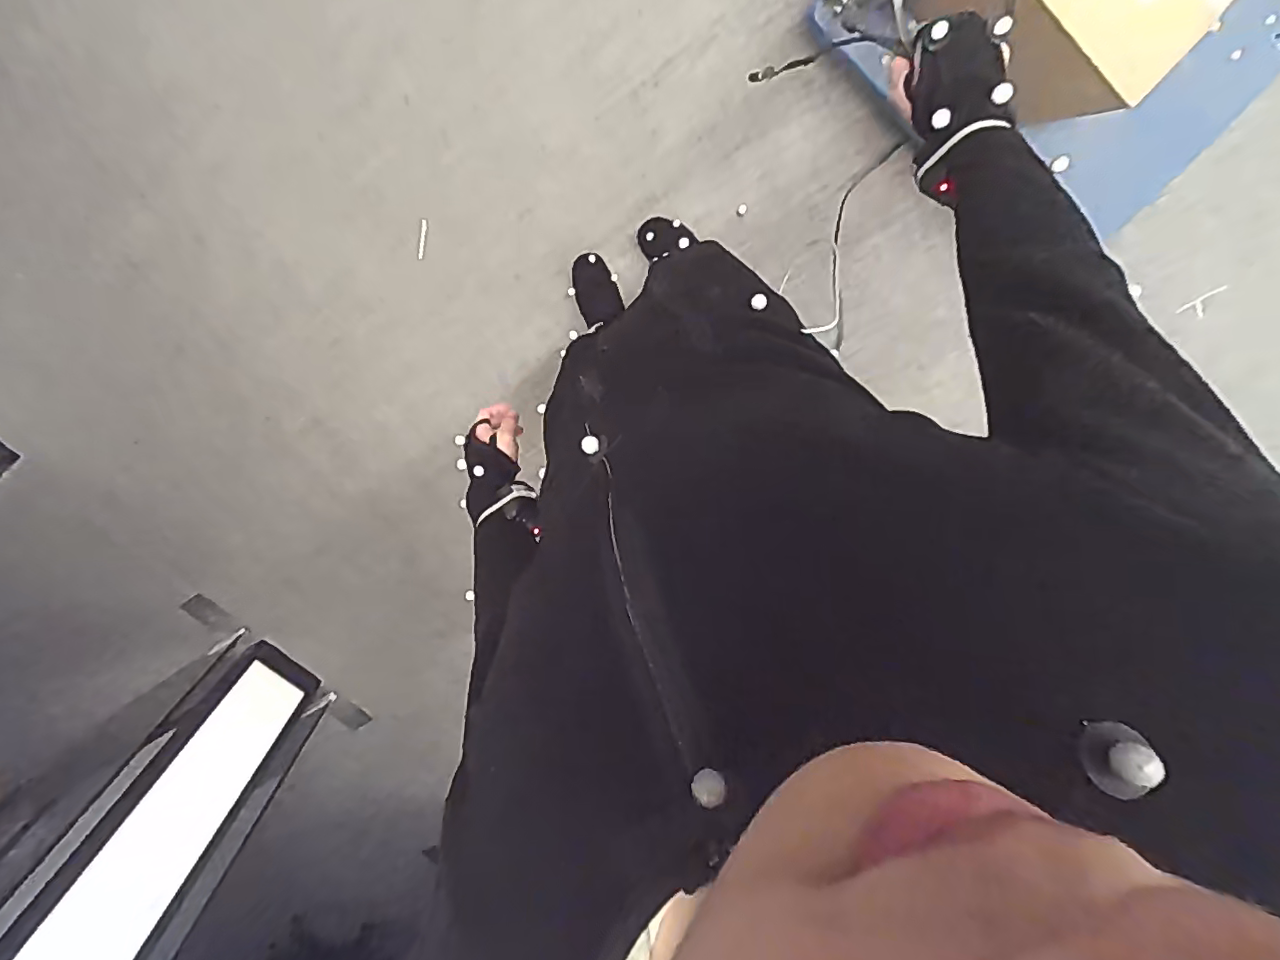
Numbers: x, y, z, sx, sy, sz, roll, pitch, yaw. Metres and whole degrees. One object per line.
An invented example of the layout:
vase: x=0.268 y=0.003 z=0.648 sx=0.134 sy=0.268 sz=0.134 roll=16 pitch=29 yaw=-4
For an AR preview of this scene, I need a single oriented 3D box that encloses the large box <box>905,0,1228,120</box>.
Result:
large box: x=0.728 y=-0.896 z=0.903 sx=0.408 sy=0.320 sz=0.320 roll=31 pitch=114 yaw=-17
